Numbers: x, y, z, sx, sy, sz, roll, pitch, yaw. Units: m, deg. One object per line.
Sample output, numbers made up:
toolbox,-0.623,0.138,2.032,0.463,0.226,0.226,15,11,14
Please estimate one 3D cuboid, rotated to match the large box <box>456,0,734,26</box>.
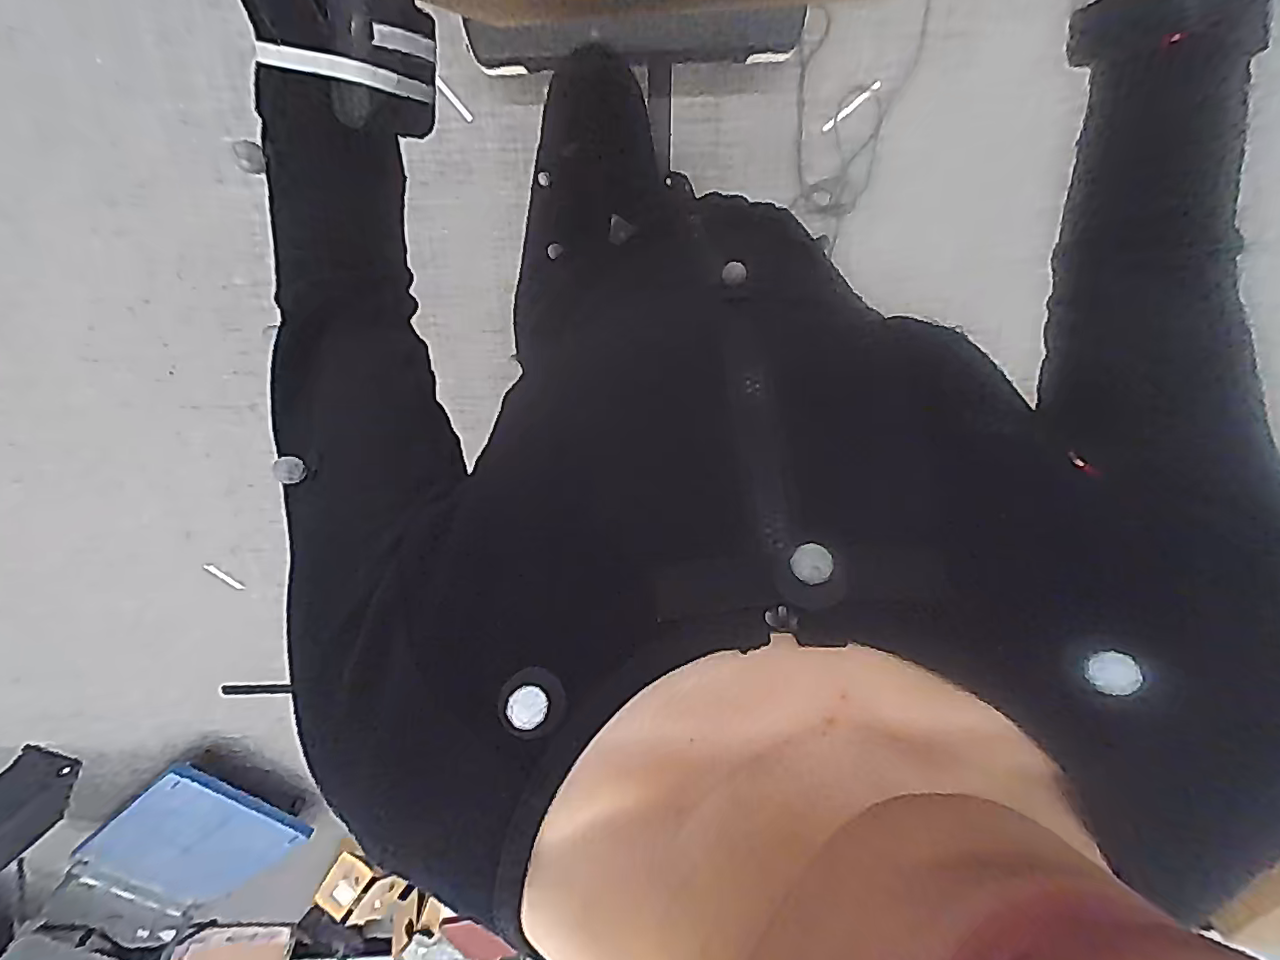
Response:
large box,0.043,-0.510,0.331,0.408,0.320,0.320,-4,127,1
